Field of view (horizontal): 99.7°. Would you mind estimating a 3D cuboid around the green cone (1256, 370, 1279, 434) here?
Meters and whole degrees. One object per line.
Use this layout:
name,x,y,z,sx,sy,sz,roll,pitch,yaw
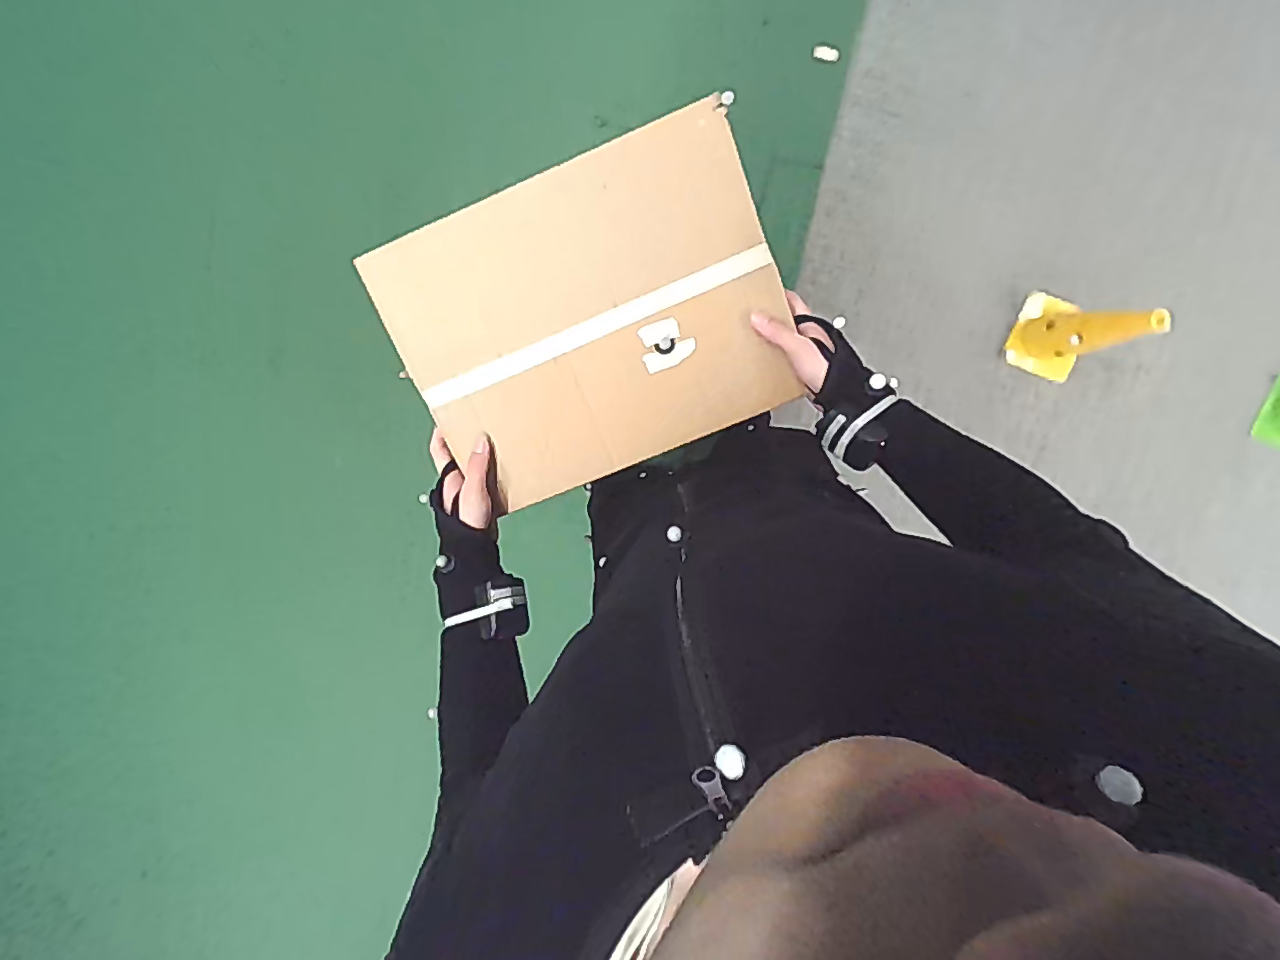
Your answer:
green cone,1.865,-0.193,1.358,0.202,0.368,0.200,17,99,1
